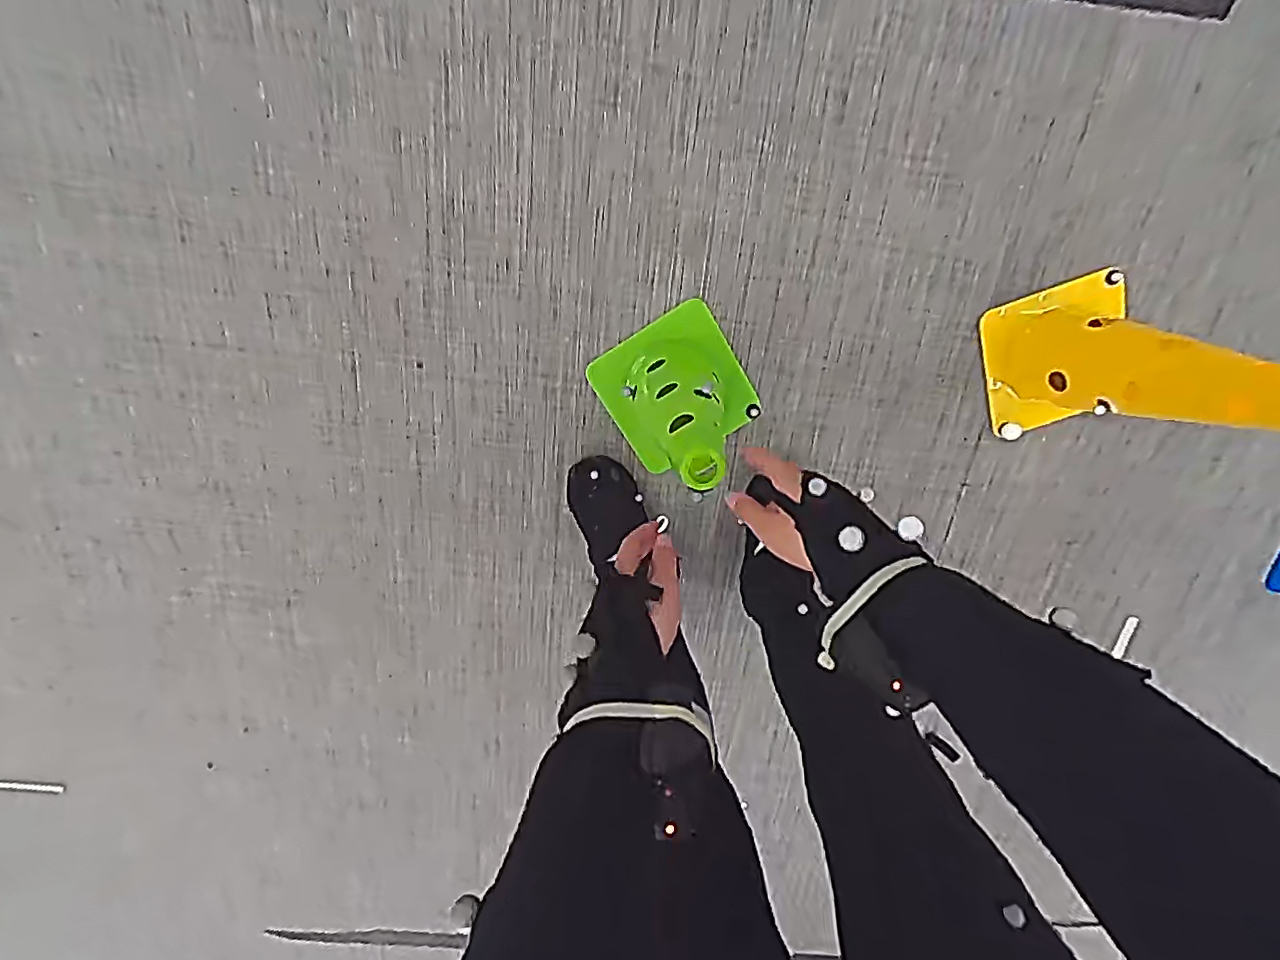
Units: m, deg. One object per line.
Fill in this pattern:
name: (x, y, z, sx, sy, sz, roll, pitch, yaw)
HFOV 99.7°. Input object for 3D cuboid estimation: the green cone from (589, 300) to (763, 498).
green cone: (0.052, -0.070, 0.627, 0.202, 0.368, 0.200, -31, 107, 11)
